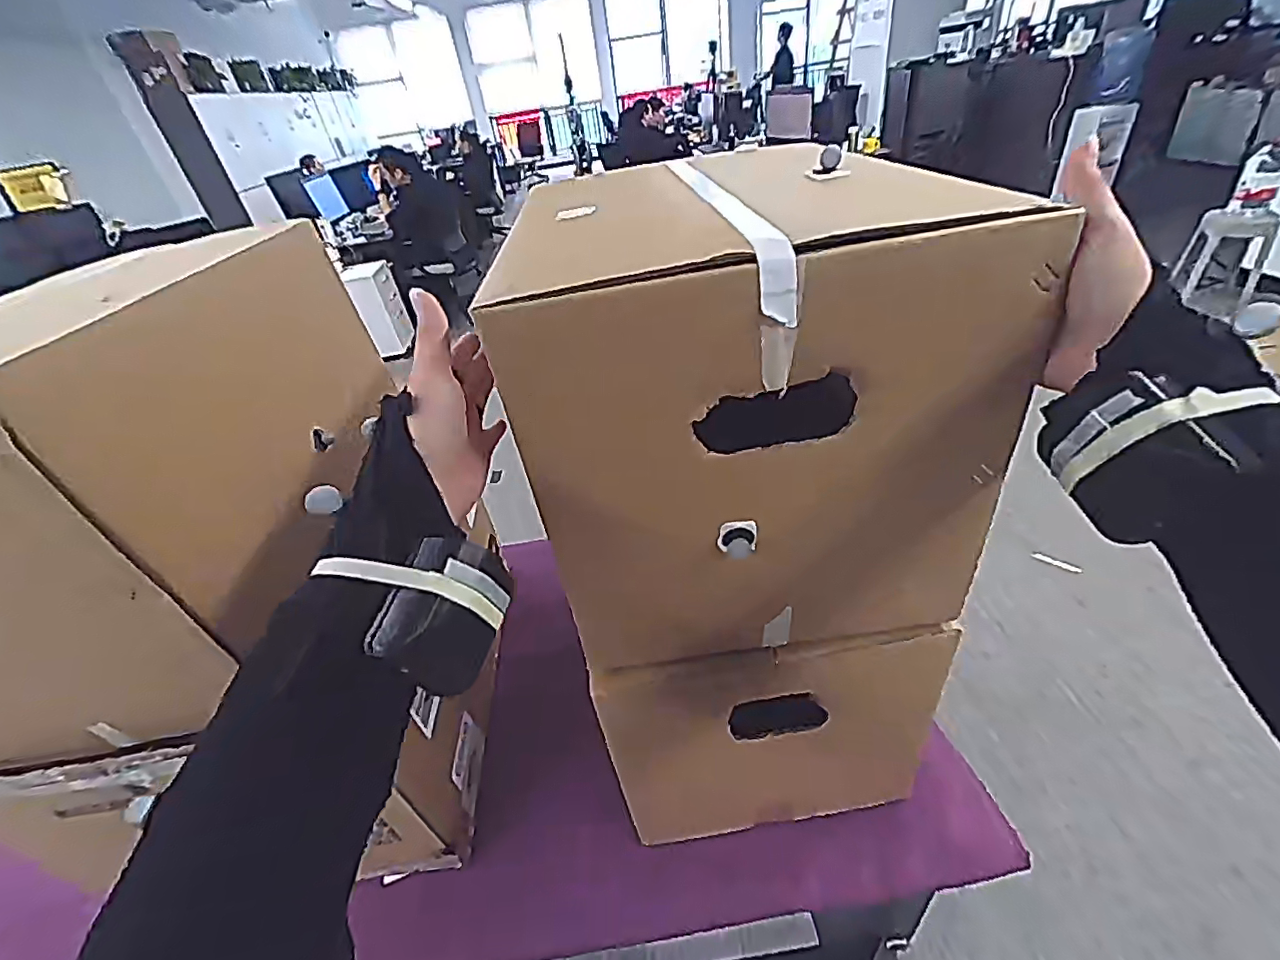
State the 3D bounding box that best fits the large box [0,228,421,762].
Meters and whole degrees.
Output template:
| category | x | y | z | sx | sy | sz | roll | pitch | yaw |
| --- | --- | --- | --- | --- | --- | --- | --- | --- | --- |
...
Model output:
| category | x | y | z | sx | sy | sz | roll | pitch | yaw |
| --- | --- | --- | --- | --- | --- | --- | --- | --- | --- |
| large box | -0.464 | -0.014 | 0.533 | 0.320 | 0.320 | 0.408 | -13 | 37 | 3 |
